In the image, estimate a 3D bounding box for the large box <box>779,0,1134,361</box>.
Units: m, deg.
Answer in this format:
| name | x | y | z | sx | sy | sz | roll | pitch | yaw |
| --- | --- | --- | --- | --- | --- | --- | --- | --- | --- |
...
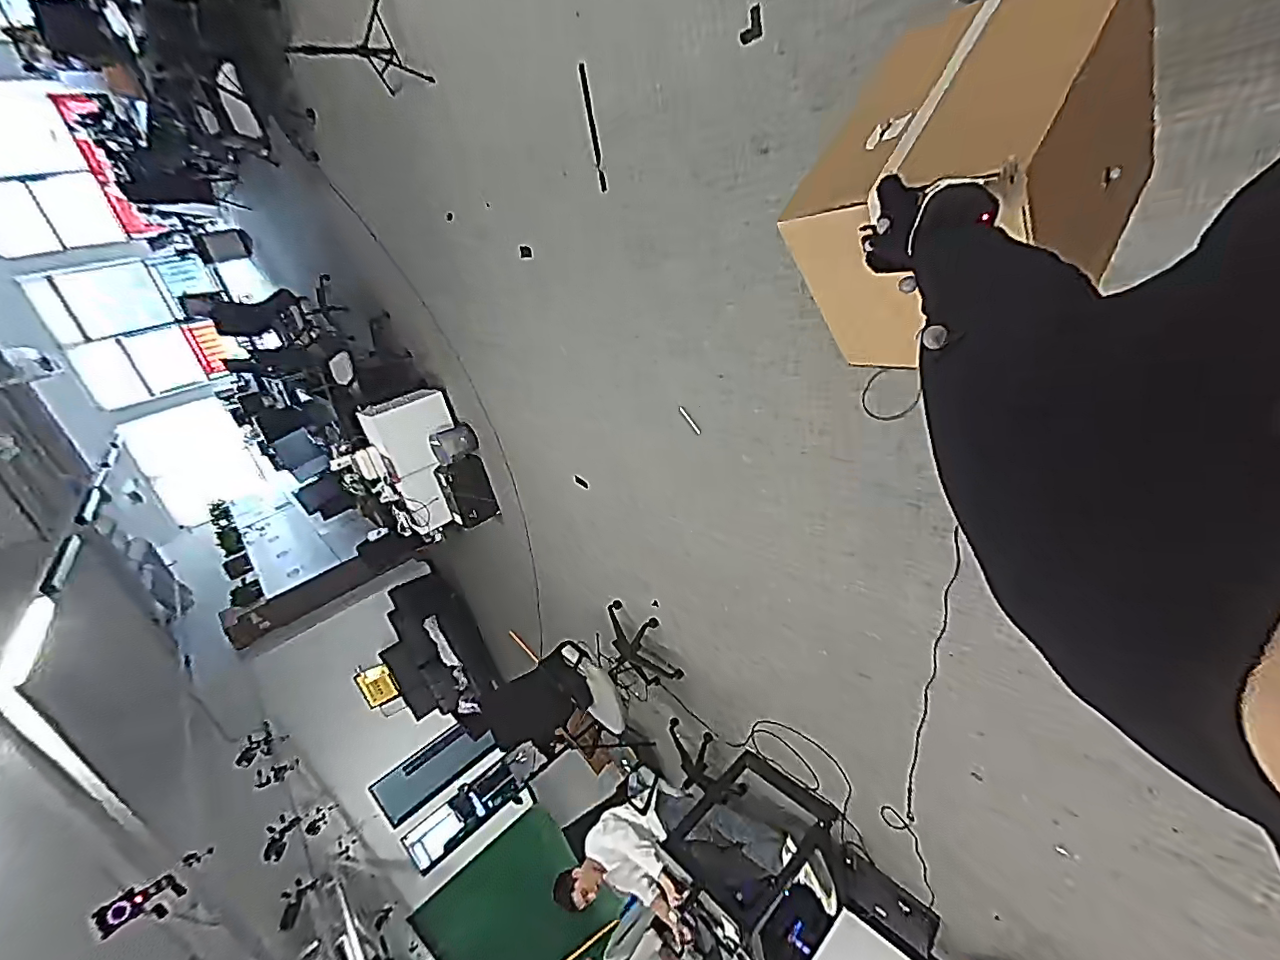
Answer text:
| name | x | y | z | sx | sy | sz | roll | pitch | yaw |
| --- | --- | --- | --- | --- | --- | --- | --- | --- | --- |
| large box | 0.482 | -0.436 | 0.807 | 0.320 | 0.408 | 0.320 | 18 | 163 | 50 |
